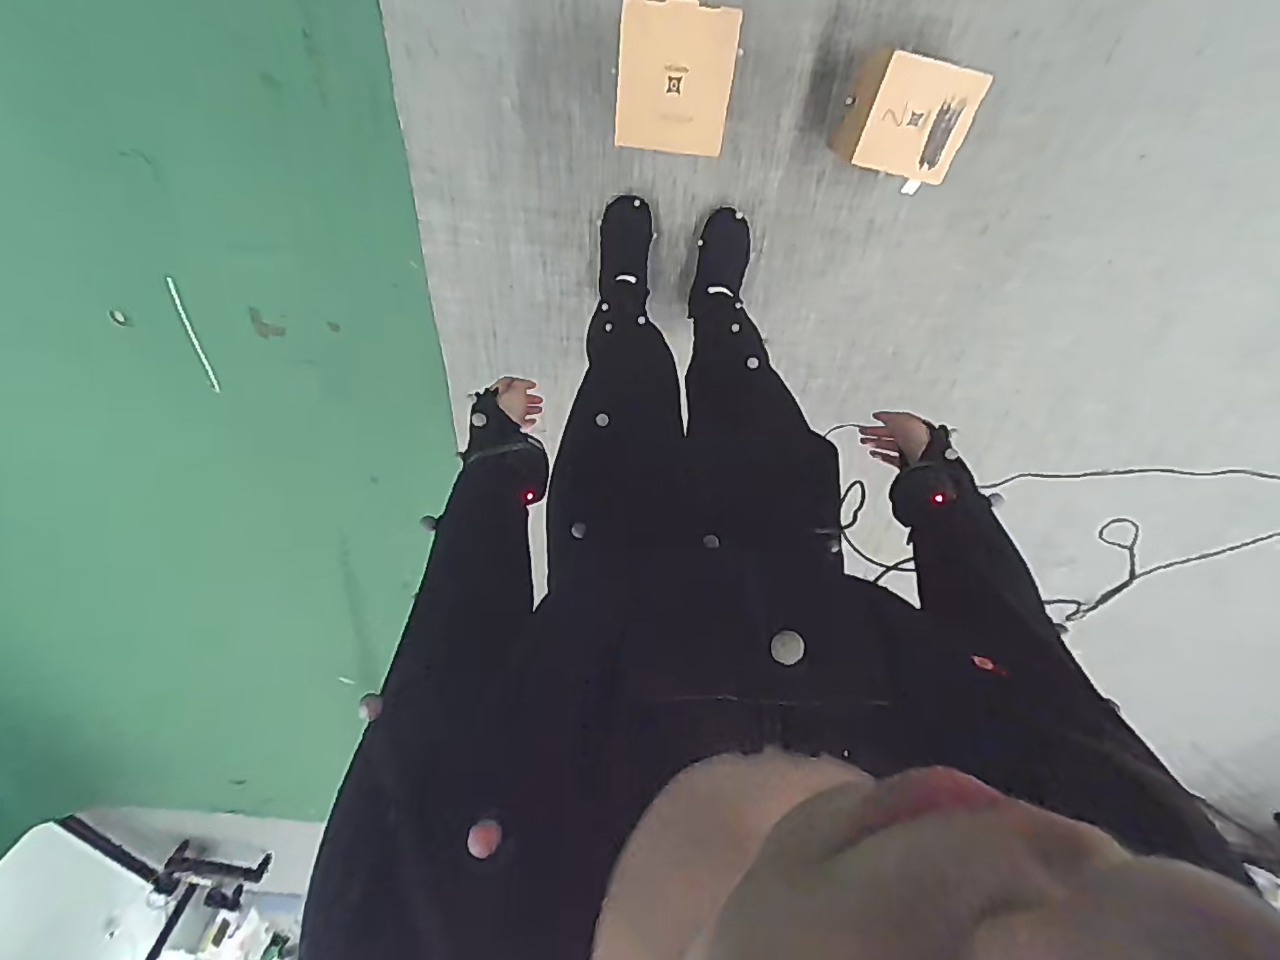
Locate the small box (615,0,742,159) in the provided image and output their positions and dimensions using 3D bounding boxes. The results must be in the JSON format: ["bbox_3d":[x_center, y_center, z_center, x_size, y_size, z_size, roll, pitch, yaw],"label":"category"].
[{"bbox_3d":[0.055,-0.622,0.843,0.168,0.176,0.179,7,129,0],"label":"small box"}]
